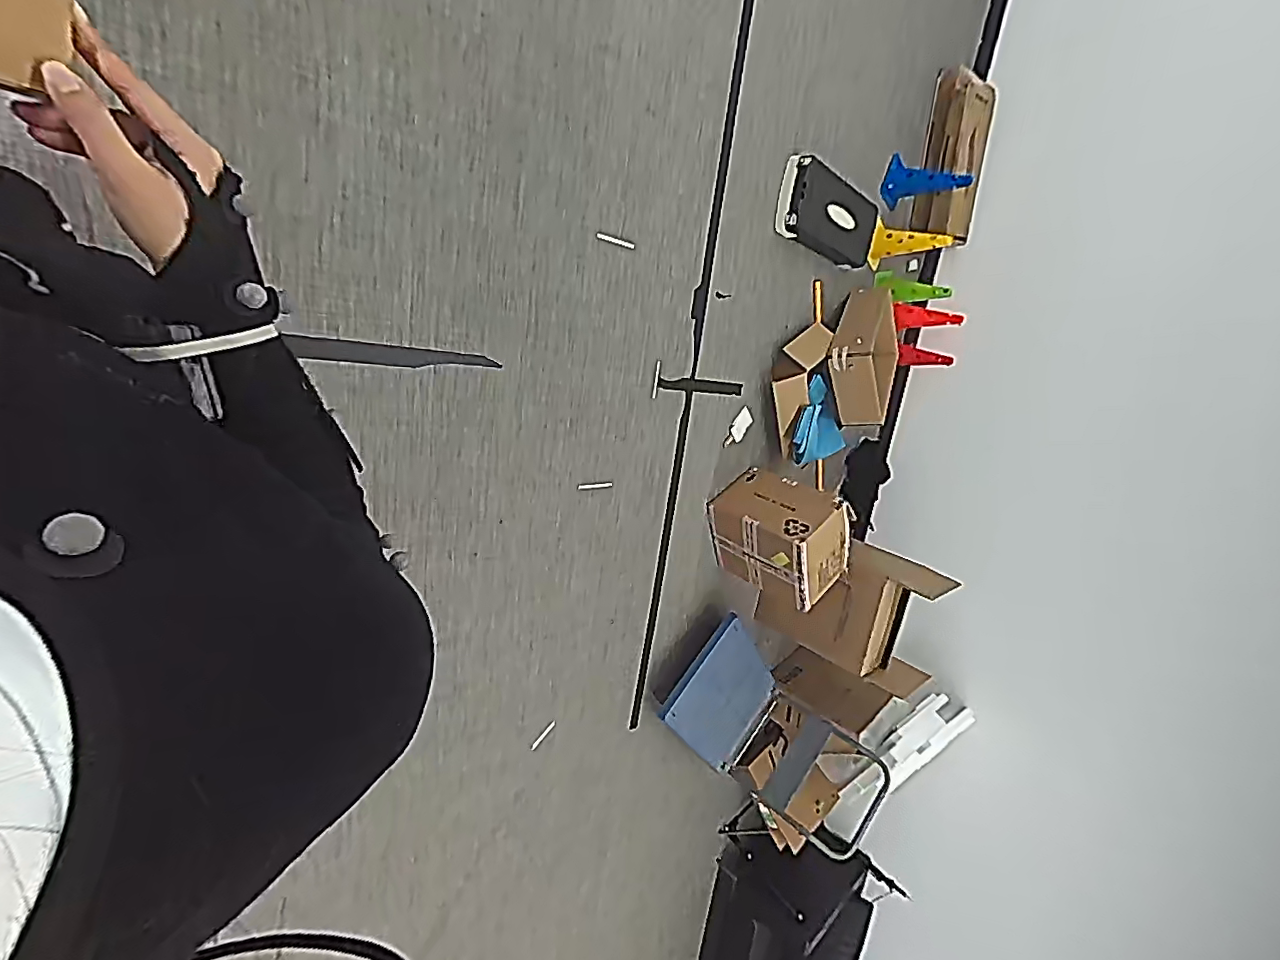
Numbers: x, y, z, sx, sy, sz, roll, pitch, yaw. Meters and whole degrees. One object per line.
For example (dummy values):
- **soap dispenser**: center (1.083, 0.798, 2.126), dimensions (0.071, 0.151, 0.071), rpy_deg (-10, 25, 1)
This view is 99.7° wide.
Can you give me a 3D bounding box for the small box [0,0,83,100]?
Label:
- **small box**: center (-0.376, -0.306, 0.243), dimensions (0.168, 0.176, 0.179), rpy_deg (-3, 116, -47)
